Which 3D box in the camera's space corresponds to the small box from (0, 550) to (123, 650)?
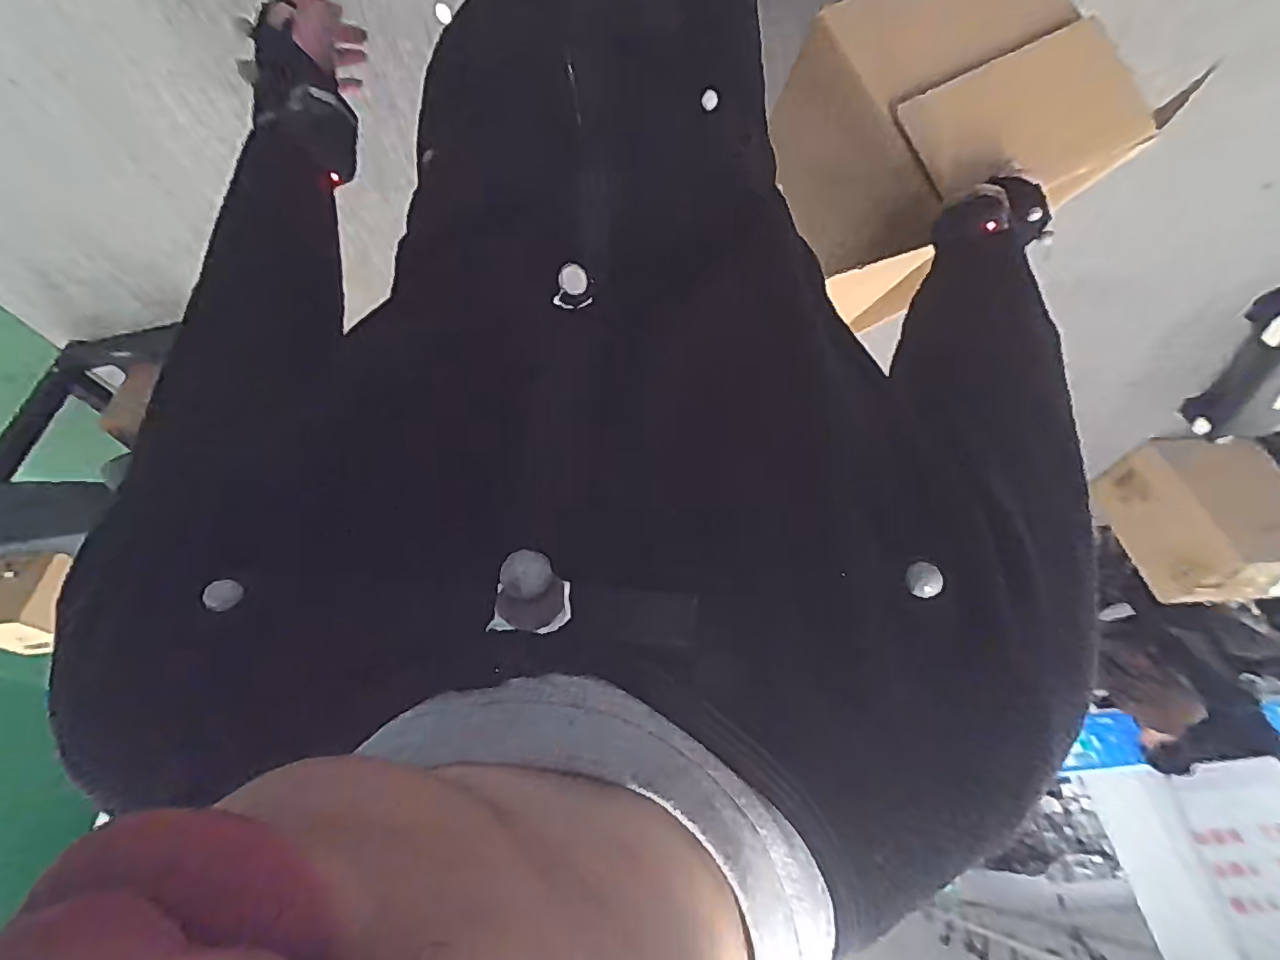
[{"bbox_3d":[-1.359,0.276,1.234,0.168,0.176,0.179,-6,146,2],"label":"small box"}]
